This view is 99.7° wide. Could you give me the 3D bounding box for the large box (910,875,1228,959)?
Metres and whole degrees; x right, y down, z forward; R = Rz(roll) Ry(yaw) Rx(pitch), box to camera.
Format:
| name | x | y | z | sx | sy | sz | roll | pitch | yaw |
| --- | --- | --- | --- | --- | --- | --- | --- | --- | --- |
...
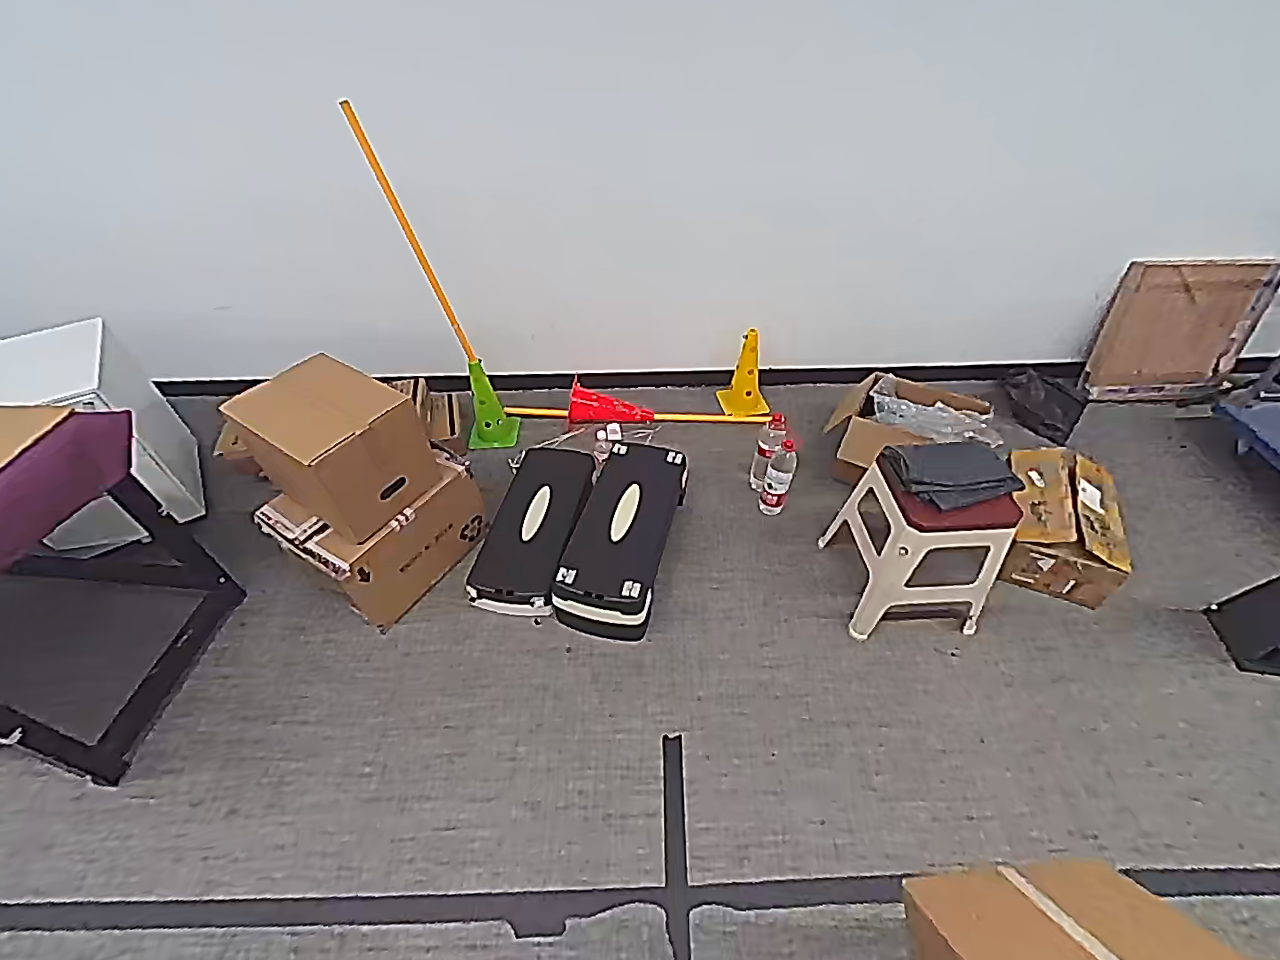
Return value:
| name | x | y | z | sx | sy | sz | roll | pitch | yaw |
| --- | --- | --- | --- | --- | --- | --- | --- | --- | --- |
| large box | 0.562 | 0.726 | 0.595 | 0.320 | 0.408 | 0.320 | -4 | 83 | -1 |
